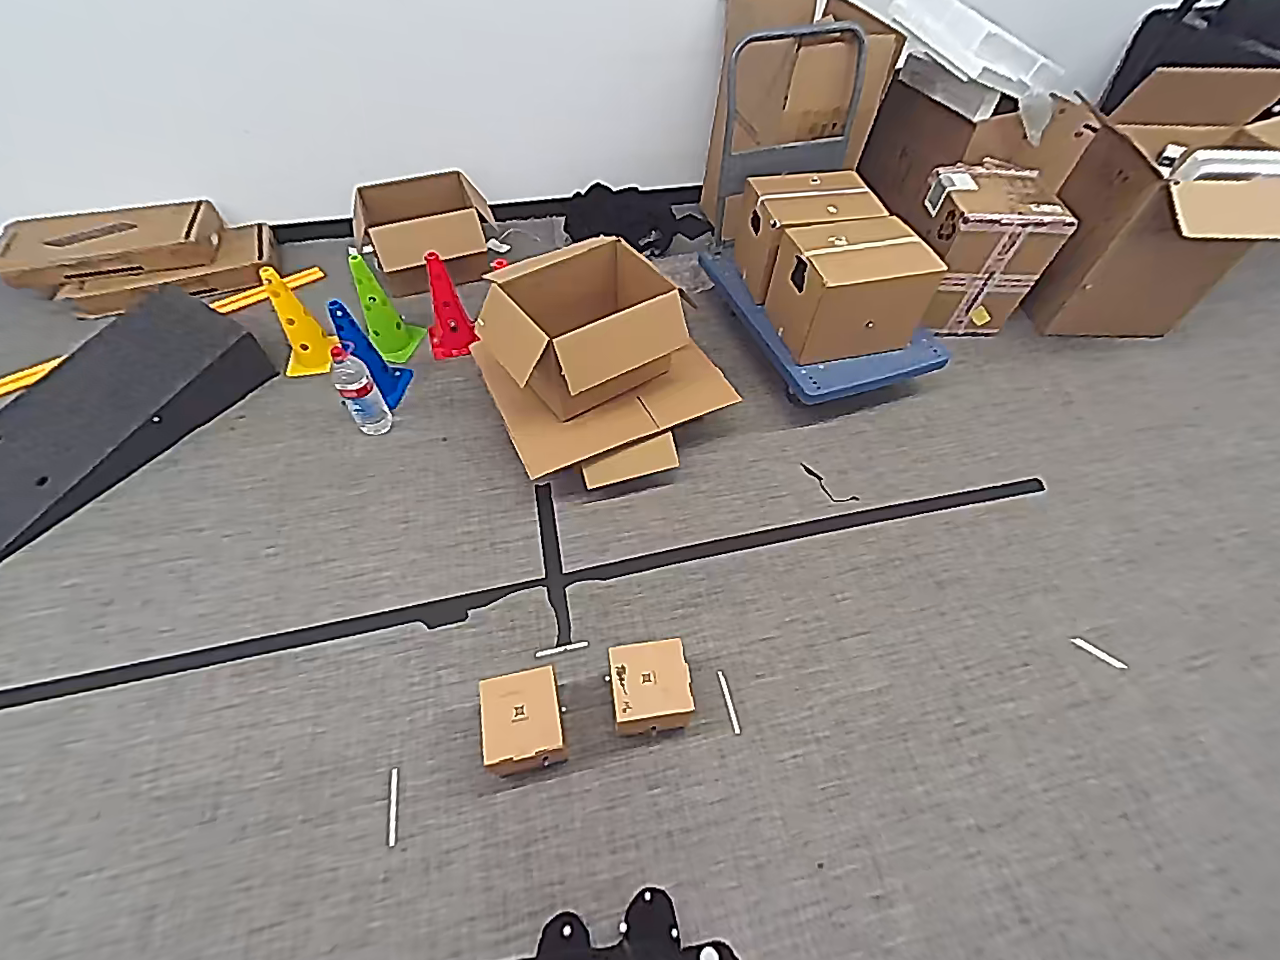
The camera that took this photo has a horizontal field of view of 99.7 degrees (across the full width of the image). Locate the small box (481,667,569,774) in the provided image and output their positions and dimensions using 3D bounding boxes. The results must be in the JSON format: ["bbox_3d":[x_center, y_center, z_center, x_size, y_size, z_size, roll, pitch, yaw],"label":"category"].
[{"bbox_3d":[-0.257,0.550,1.226,0.168,0.176,0.179,-10,55,-10],"label":"small box"}]

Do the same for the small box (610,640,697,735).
[{"bbox_3d":[0.025,0.493,1.277,0.179,0.176,0.168,-5,56,-7],"label":"small box"}]
